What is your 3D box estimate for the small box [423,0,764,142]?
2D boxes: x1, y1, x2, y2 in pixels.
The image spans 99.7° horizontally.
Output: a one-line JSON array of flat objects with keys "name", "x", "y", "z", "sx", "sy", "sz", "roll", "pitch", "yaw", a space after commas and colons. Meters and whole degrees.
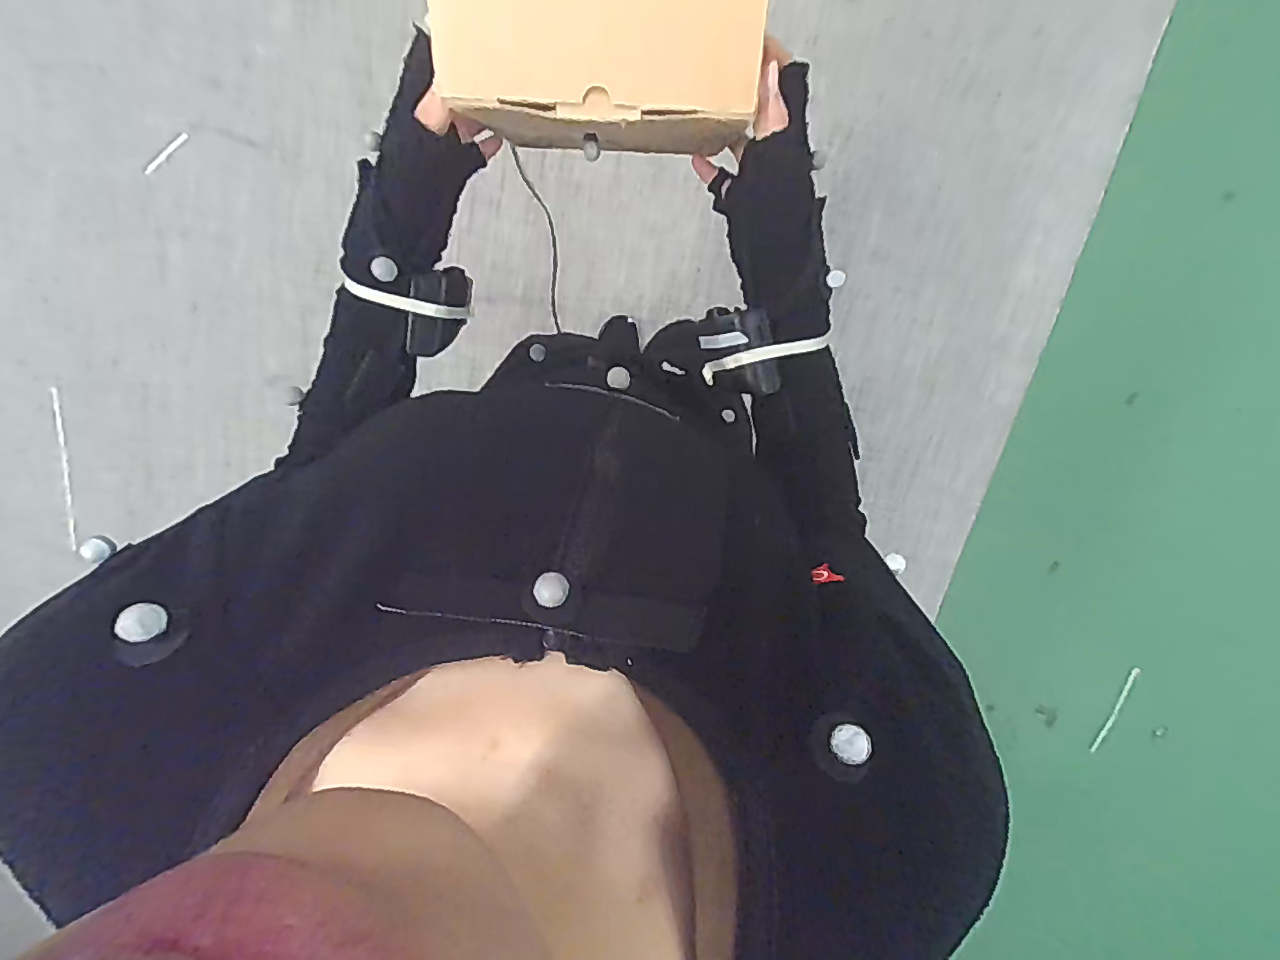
[{"name": "small box", "x": -0.020, "y": -0.309, "z": 0.308, "sx": 0.168, "sy": 0.176, "sz": 0.179, "roll": 2, "pitch": 117, "yaw": 0}]
